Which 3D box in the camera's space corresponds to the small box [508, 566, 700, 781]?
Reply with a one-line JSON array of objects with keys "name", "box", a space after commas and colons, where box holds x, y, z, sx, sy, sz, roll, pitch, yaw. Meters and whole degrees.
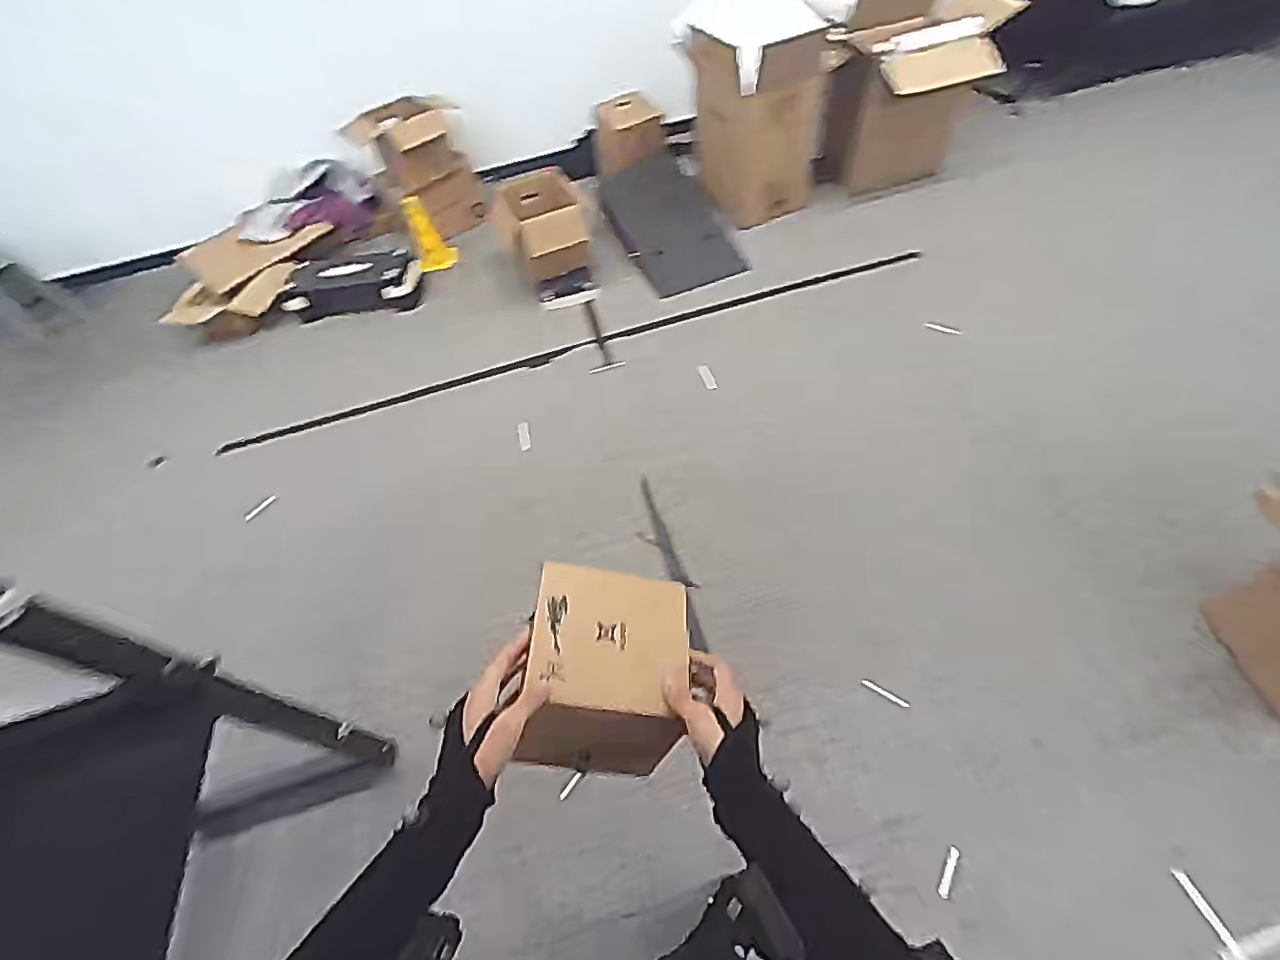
[{"name": "small box", "box": [-0.043, 0.232, 0.637, 0.179, 0.176, 0.168, 15, 39, -10]}]
